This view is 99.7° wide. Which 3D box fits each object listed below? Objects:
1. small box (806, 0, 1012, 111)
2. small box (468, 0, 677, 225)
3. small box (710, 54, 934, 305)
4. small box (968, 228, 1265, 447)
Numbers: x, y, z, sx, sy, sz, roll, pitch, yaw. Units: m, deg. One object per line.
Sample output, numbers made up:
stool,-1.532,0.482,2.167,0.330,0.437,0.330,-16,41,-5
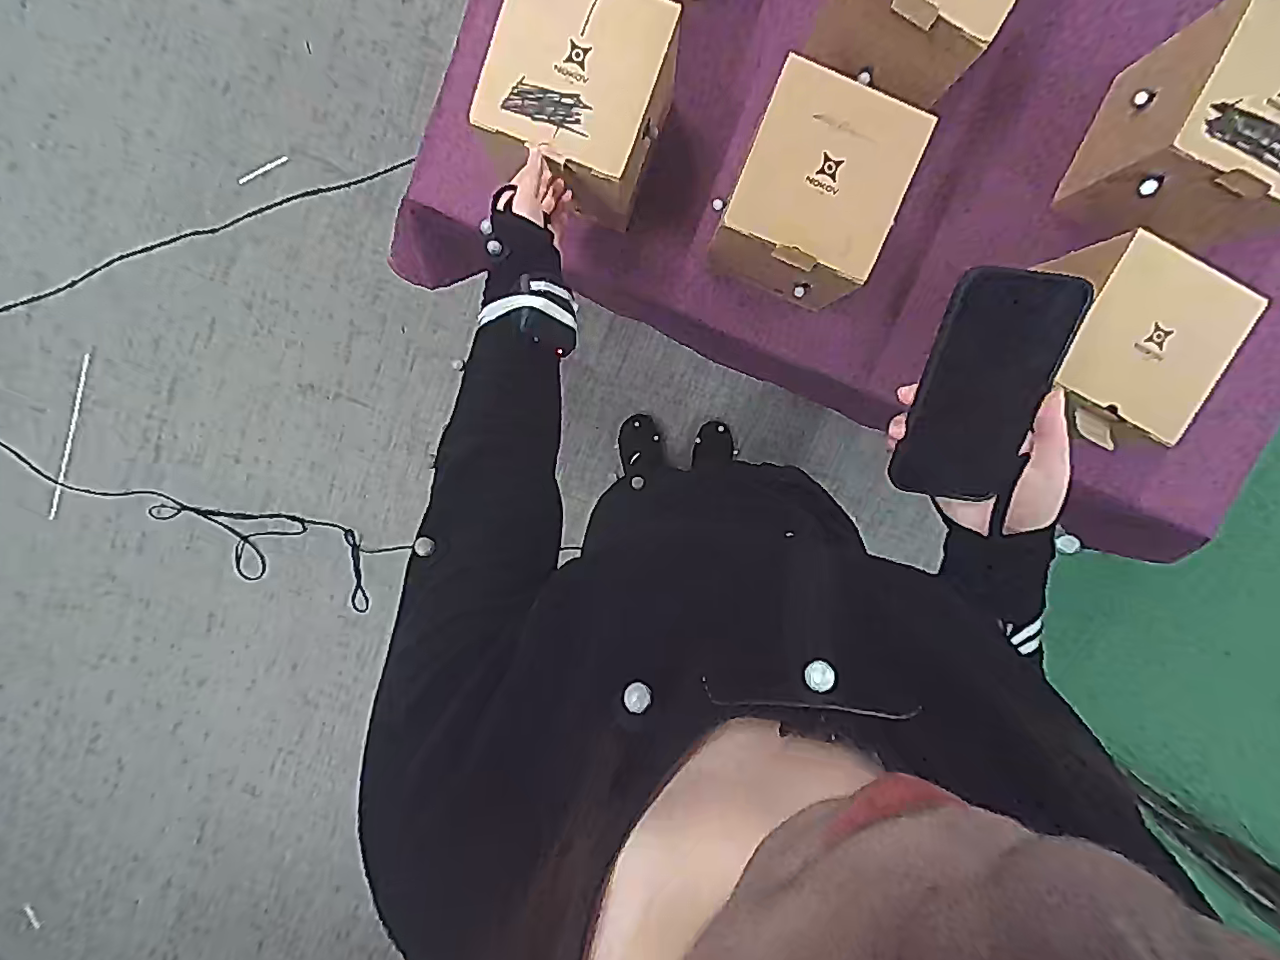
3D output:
small box,0.308,-0.548,0.590,0.168,0.176,0.179,29,98,-3
small box,-0.067,-0.422,0.612,0.168,0.176,0.179,21,97,-3
small box,0.189,-0.323,0.626,0.168,0.176,0.179,22,97,-3
small box,0.541,-0.159,0.646,0.168,0.176,0.179,27,98,-3
